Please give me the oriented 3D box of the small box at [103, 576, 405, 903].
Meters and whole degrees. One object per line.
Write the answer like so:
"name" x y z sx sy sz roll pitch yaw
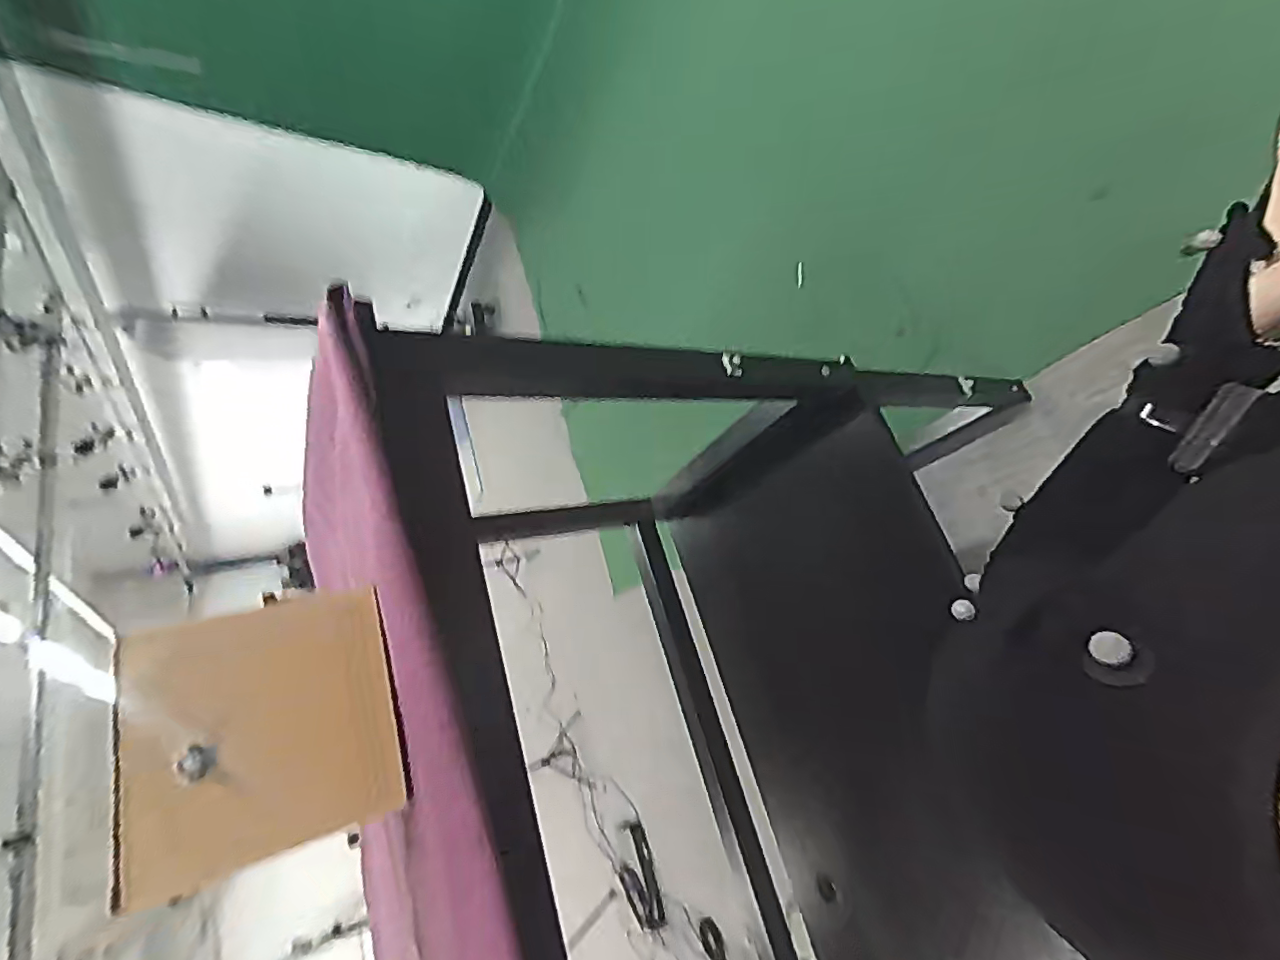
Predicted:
"small box" -0.303 0.195 0.448 0.168 0.176 0.179 -41 61 51
